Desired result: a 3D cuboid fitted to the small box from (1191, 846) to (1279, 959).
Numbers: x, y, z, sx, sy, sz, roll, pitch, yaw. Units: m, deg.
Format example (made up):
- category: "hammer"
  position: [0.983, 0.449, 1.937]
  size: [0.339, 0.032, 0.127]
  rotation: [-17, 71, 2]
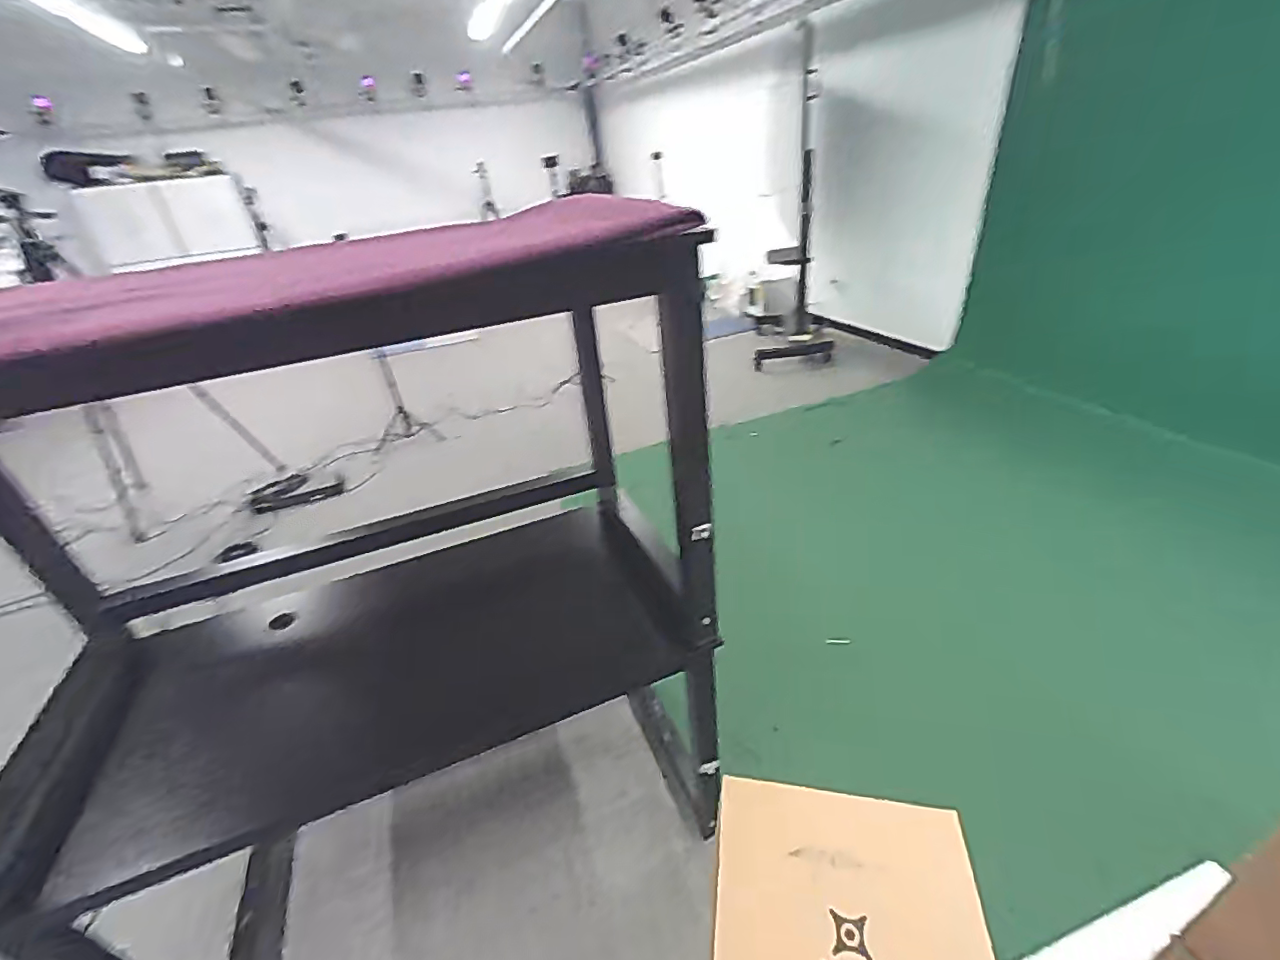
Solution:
- category: "small box"
  position: [0.681, 0.448, 0.491]
  size: [0.168, 0.176, 0.179]
  rotation: [-12, 32, -9]
